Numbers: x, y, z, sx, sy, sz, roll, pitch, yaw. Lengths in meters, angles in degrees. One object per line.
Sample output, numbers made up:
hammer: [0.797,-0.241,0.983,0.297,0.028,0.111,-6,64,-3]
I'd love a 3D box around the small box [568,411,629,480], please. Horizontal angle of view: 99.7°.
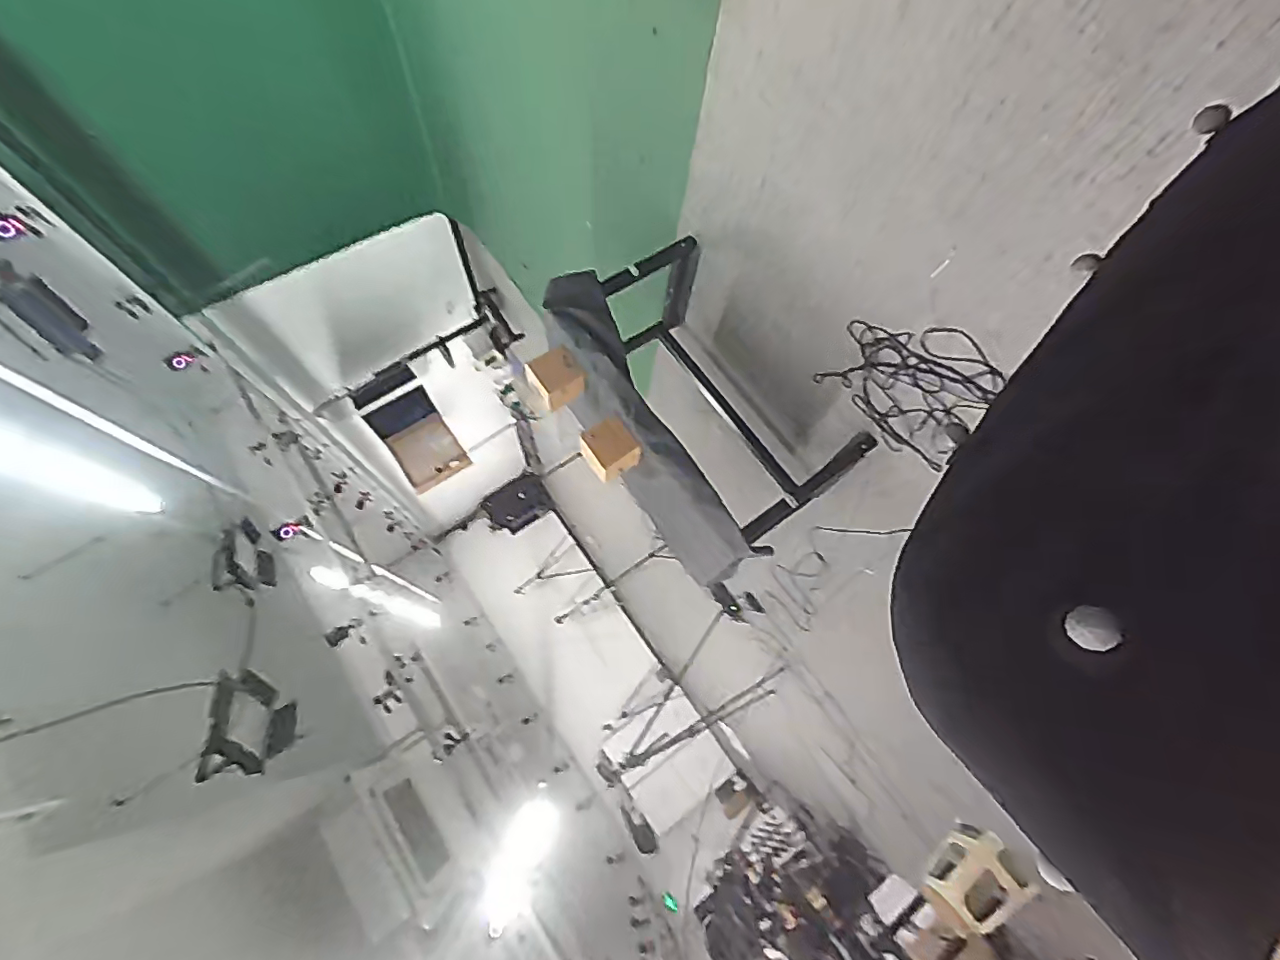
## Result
small box: [-0.157,-0.134,2.083,0.179,0.176,0.168,53,164,13]
